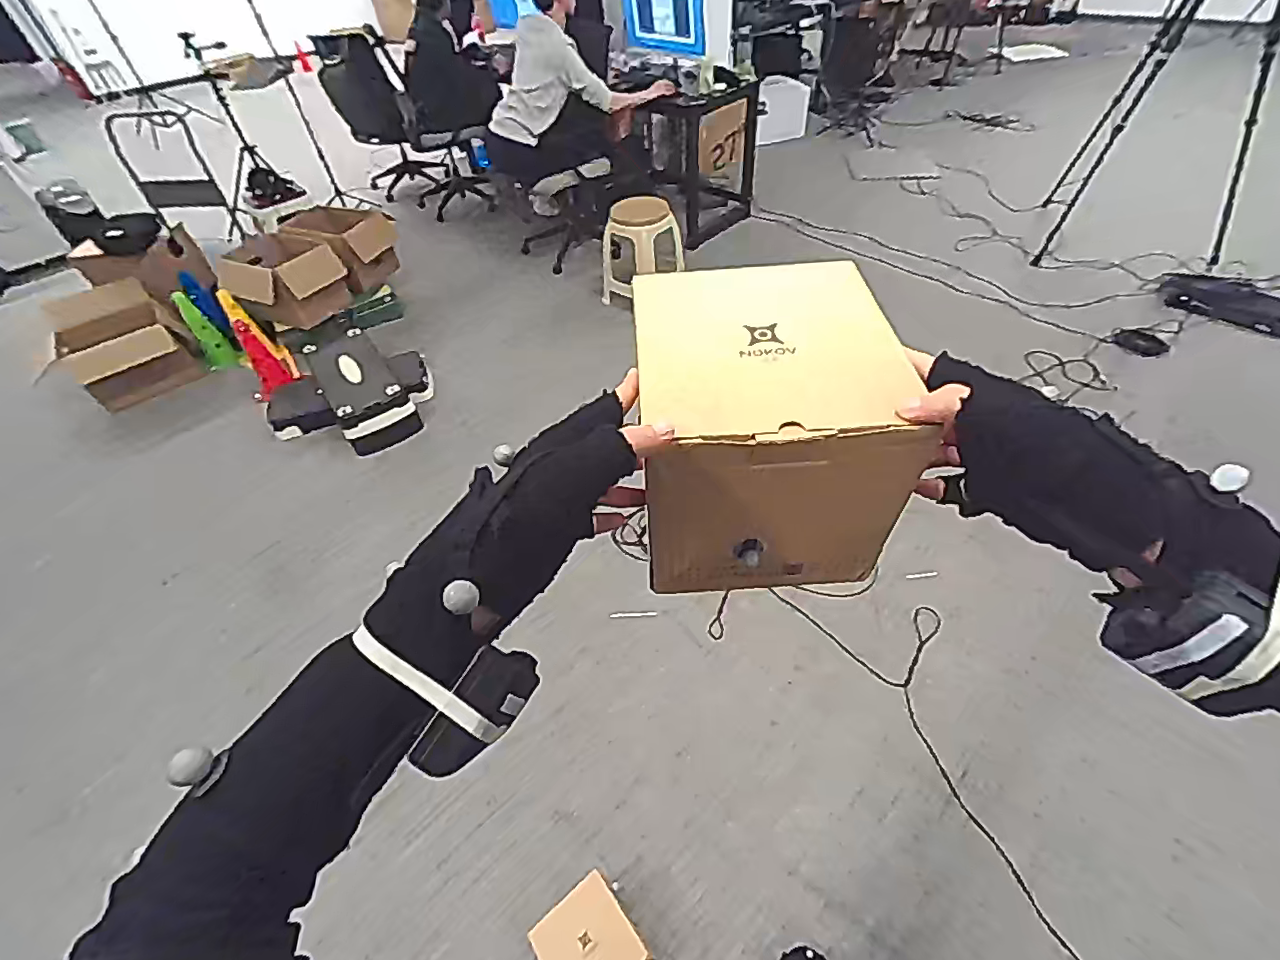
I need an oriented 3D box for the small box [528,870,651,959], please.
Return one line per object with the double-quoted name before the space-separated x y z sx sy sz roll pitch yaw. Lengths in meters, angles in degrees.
"small box" -0.094 0.926 1.069 0.168 0.176 0.179 -33 52 -22
